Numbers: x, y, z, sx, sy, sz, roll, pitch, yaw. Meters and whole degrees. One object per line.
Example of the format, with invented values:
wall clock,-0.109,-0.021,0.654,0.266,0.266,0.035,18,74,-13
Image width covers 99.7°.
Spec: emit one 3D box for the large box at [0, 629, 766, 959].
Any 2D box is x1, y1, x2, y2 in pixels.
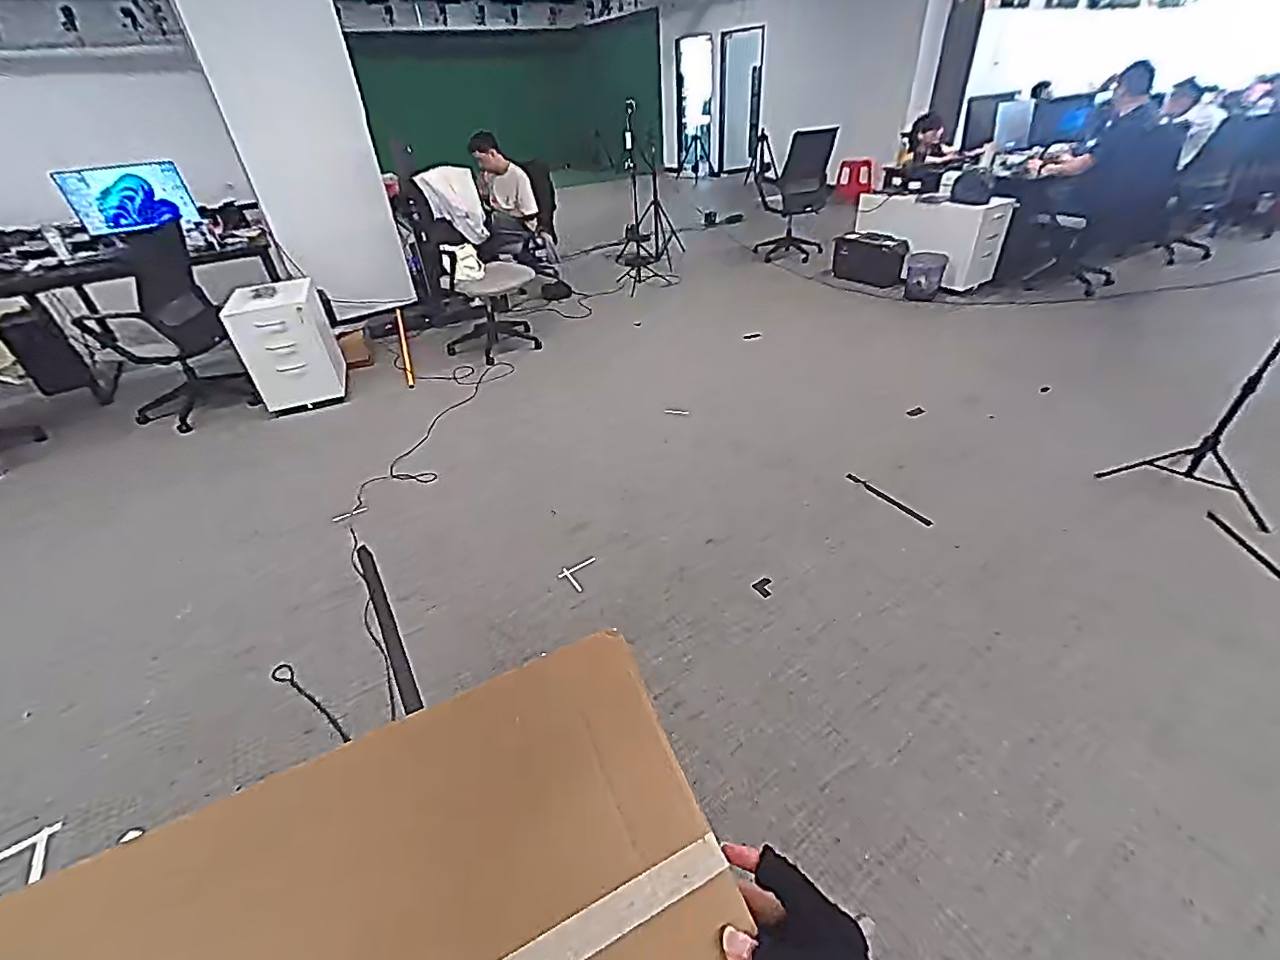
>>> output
large box,-0.148,0.376,0.417,0.408,0.320,0.320,-20,65,-18
